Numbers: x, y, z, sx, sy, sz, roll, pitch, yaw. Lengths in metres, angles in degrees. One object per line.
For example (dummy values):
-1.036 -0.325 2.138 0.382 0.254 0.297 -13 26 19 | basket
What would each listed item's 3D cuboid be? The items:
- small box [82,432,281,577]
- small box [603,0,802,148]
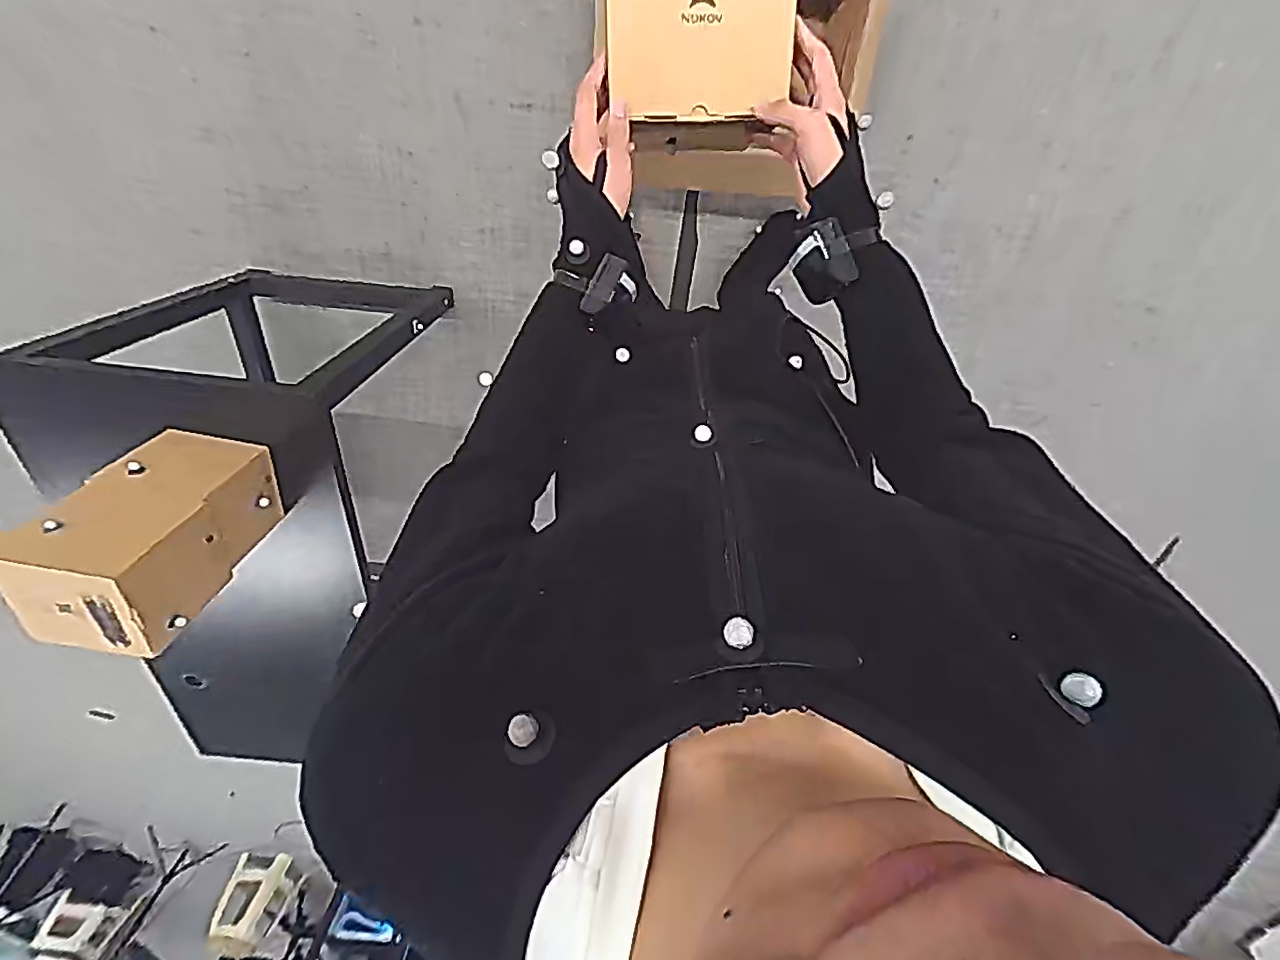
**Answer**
-0.764 0.036 0.925 0.179 0.176 0.168 11 125 -3 | small box
0.049 -0.437 0.522 0.168 0.176 0.179 -2 114 -3 | small box
